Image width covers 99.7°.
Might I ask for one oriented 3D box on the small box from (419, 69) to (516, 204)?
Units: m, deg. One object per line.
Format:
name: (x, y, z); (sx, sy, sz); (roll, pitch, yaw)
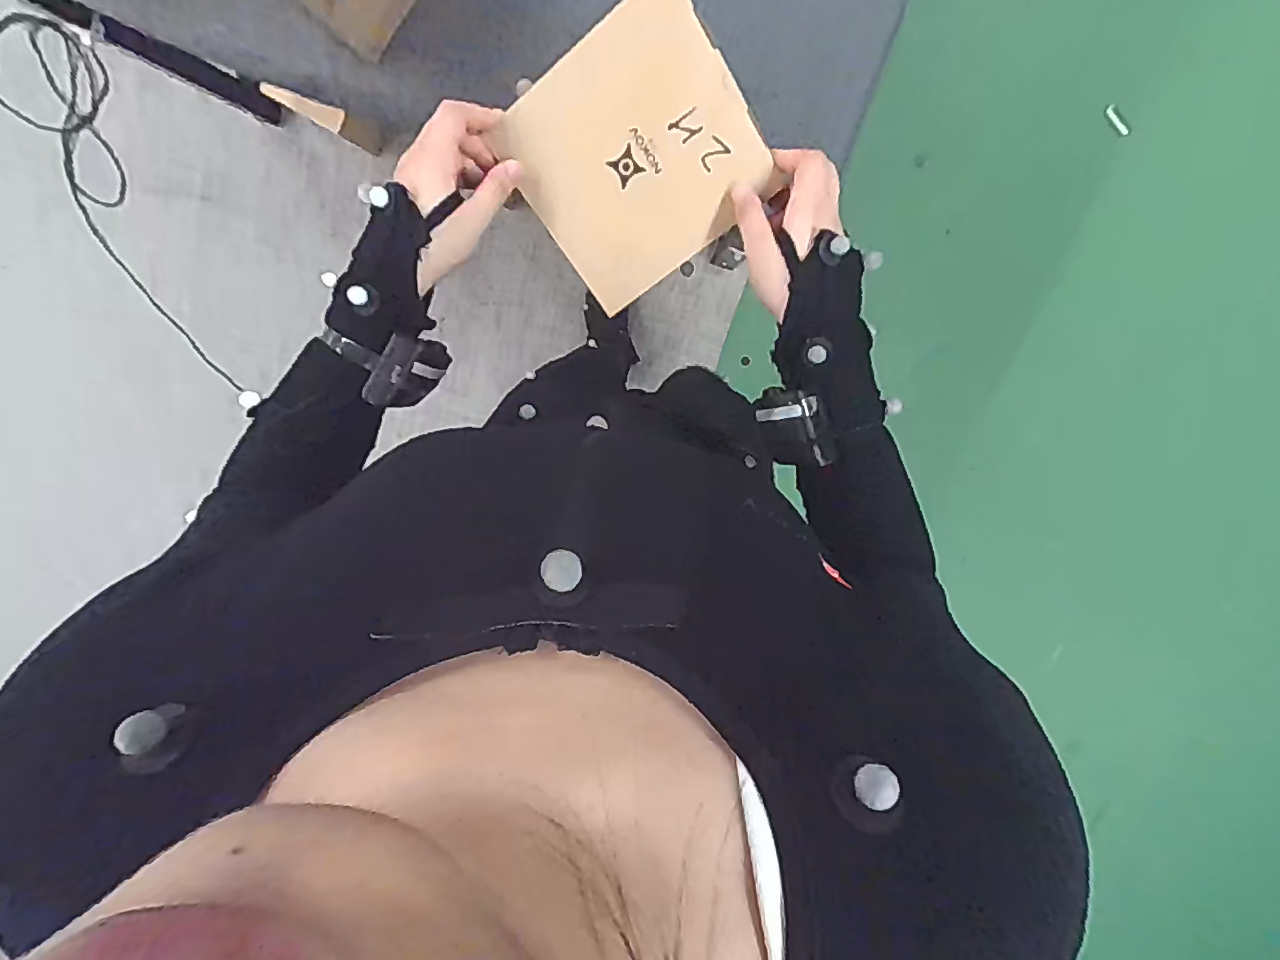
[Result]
small box: (-0.340, -0.736, 1.189); (0.179, 0.176, 0.168); (36, 104, -7)

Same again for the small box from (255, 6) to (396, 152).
small box: (-0.669, -0.846, 1.165); (0.179, 0.176, 0.168); (28, 106, -6)

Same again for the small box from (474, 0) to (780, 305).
small box: (-0.006, -0.282, 0.473); (0.179, 0.176, 0.168); (-32, 112, 16)
